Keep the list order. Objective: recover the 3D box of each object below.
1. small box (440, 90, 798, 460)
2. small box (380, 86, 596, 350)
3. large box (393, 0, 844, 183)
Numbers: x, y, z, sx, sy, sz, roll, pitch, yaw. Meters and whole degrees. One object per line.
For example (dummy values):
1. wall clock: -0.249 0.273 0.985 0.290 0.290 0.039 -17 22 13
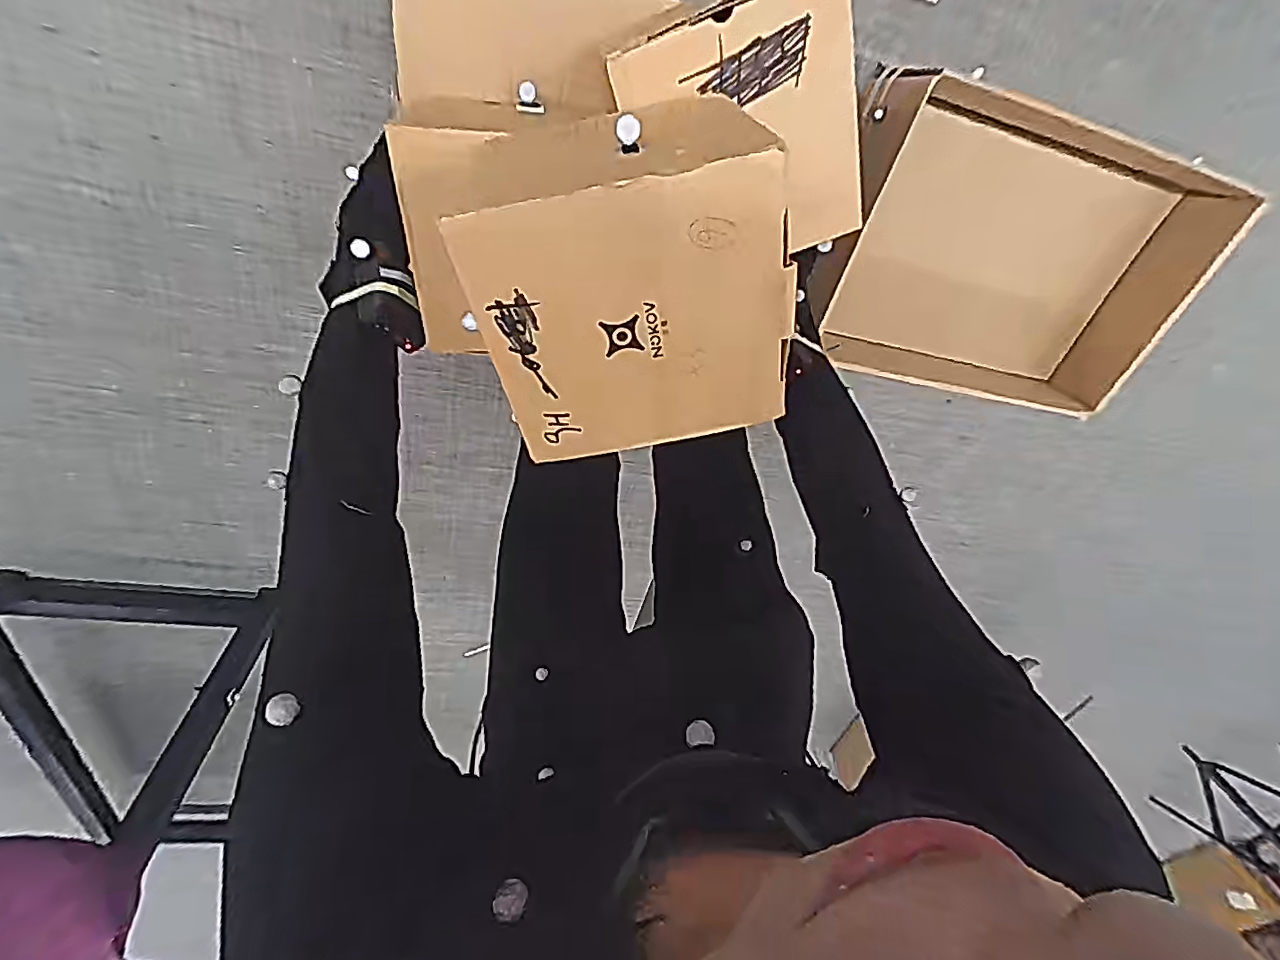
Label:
1. small box: -0.008 -0.141 0.364 0.179 0.176 0.168 -10 133 2
2. small box: -0.111 -0.235 0.488 0.168 0.176 0.179 -2 131 -8
3. large box: -0.047 -0.411 0.666 0.408 0.320 0.320 4 132 -12
